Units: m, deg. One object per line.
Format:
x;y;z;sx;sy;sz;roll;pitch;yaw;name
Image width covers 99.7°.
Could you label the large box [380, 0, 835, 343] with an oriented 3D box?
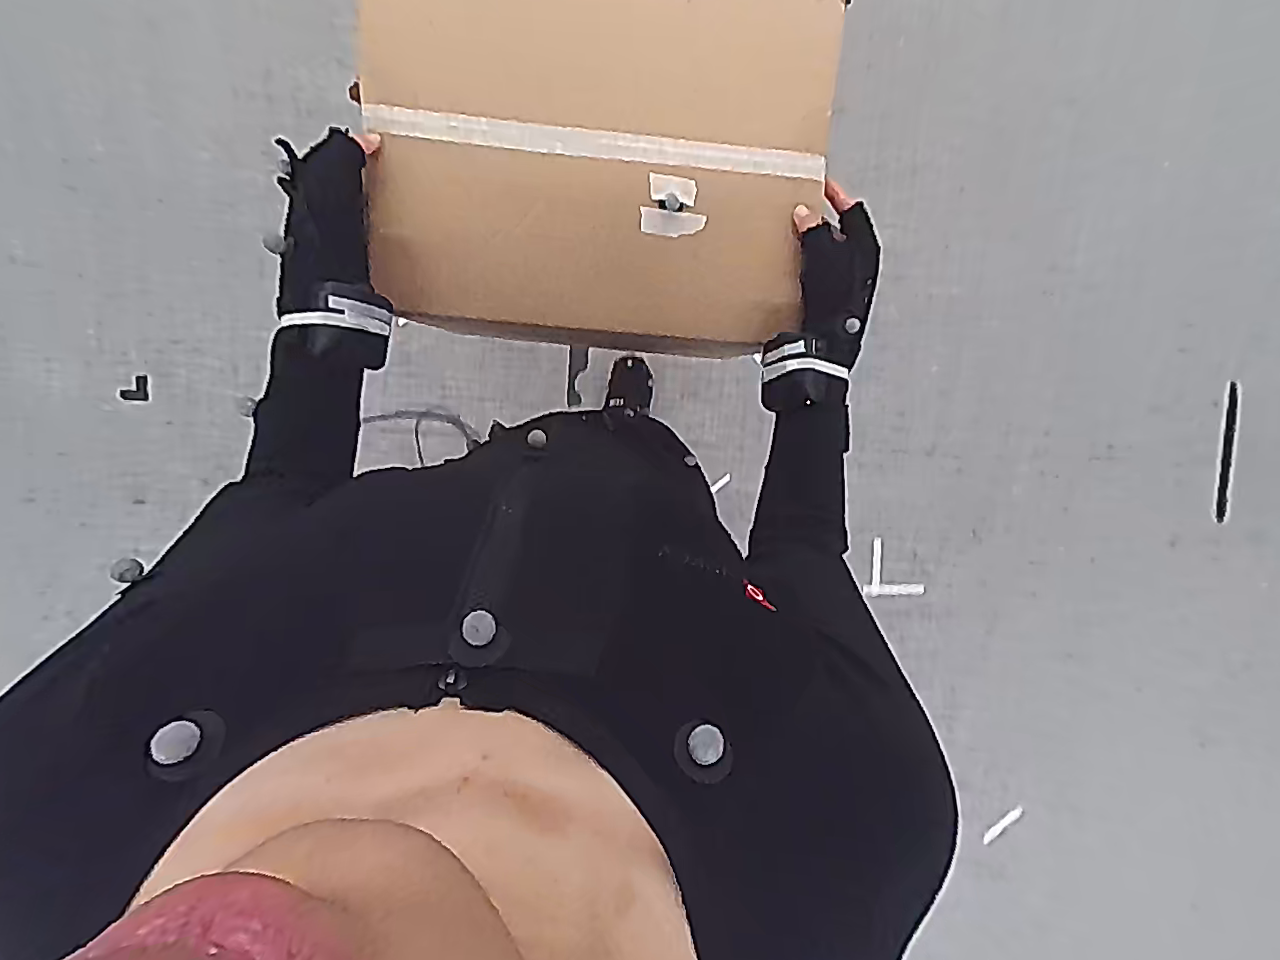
-0.043;-0.339;0.638;0.408;0.320;0.320;3;101;-5;large box
